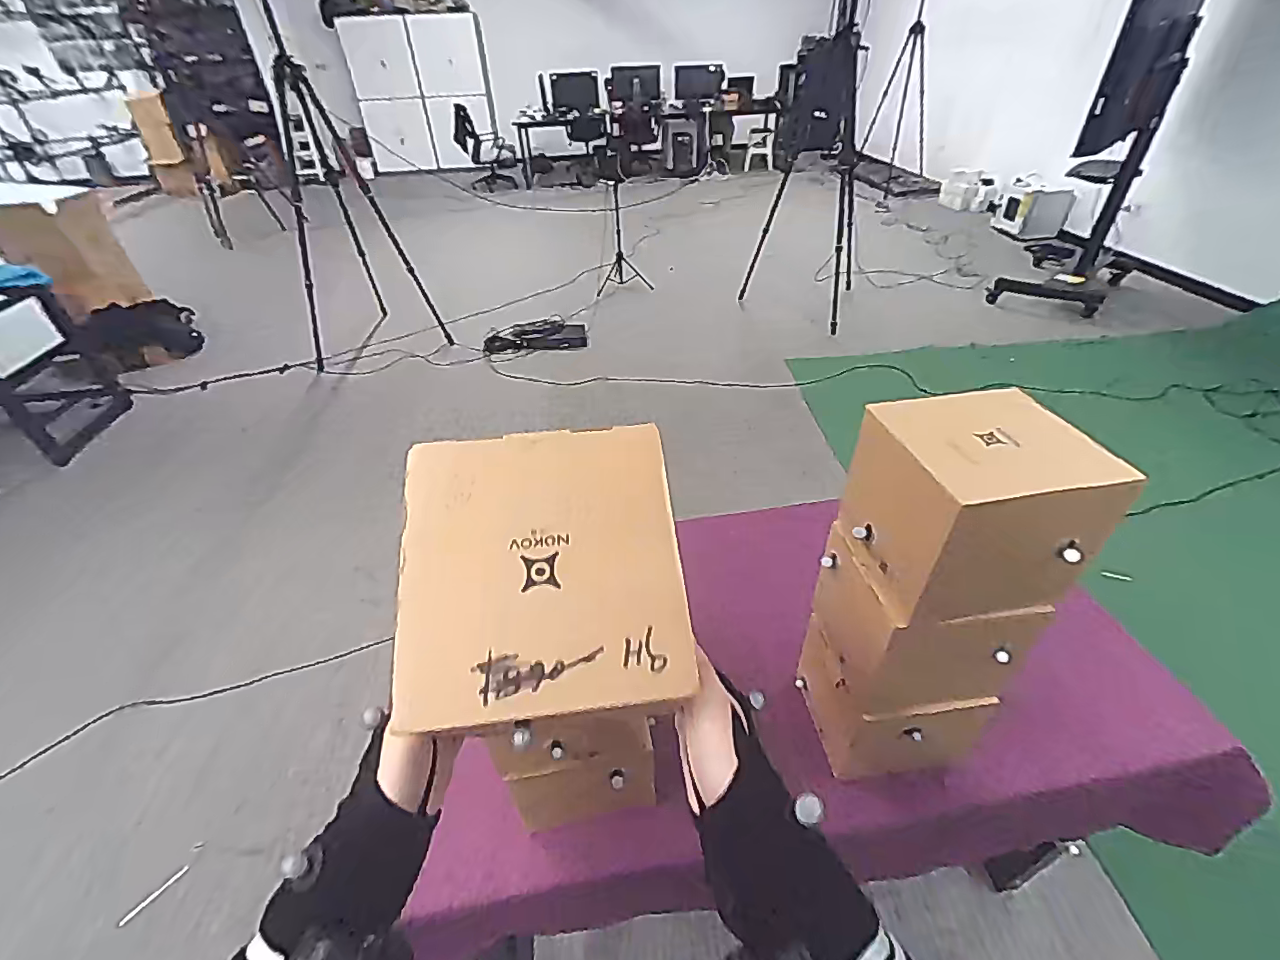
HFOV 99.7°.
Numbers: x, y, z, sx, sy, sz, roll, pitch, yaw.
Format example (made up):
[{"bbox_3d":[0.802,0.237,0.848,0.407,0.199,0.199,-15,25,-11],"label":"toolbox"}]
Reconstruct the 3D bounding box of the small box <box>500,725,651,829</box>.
[{"bbox_3d":[-0.082,0.340,0.730,0.179,0.176,0.168,-8,39,-6],"label":"small box"}]

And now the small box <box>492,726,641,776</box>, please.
[{"bbox_3d":[-0.093,0.211,0.631,0.168,0.176,0.179,-8,40,-6],"label":"small box"}]

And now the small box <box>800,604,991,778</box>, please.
[{"bbox_3d":[0.337,0.294,0.760,0.179,0.176,0.168,-6,39,-4],"label":"small box"}]

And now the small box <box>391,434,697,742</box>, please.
[{"bbox_3d":[-0.060,0.087,0.396,0.168,0.176,0.179,-5,64,-4],"label":"small box"}]

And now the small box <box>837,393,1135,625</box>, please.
[{"bbox_3d":[0.334,0.029,0.567,0.179,0.176,0.168,-7,39,-6],"label":"small box"}]
